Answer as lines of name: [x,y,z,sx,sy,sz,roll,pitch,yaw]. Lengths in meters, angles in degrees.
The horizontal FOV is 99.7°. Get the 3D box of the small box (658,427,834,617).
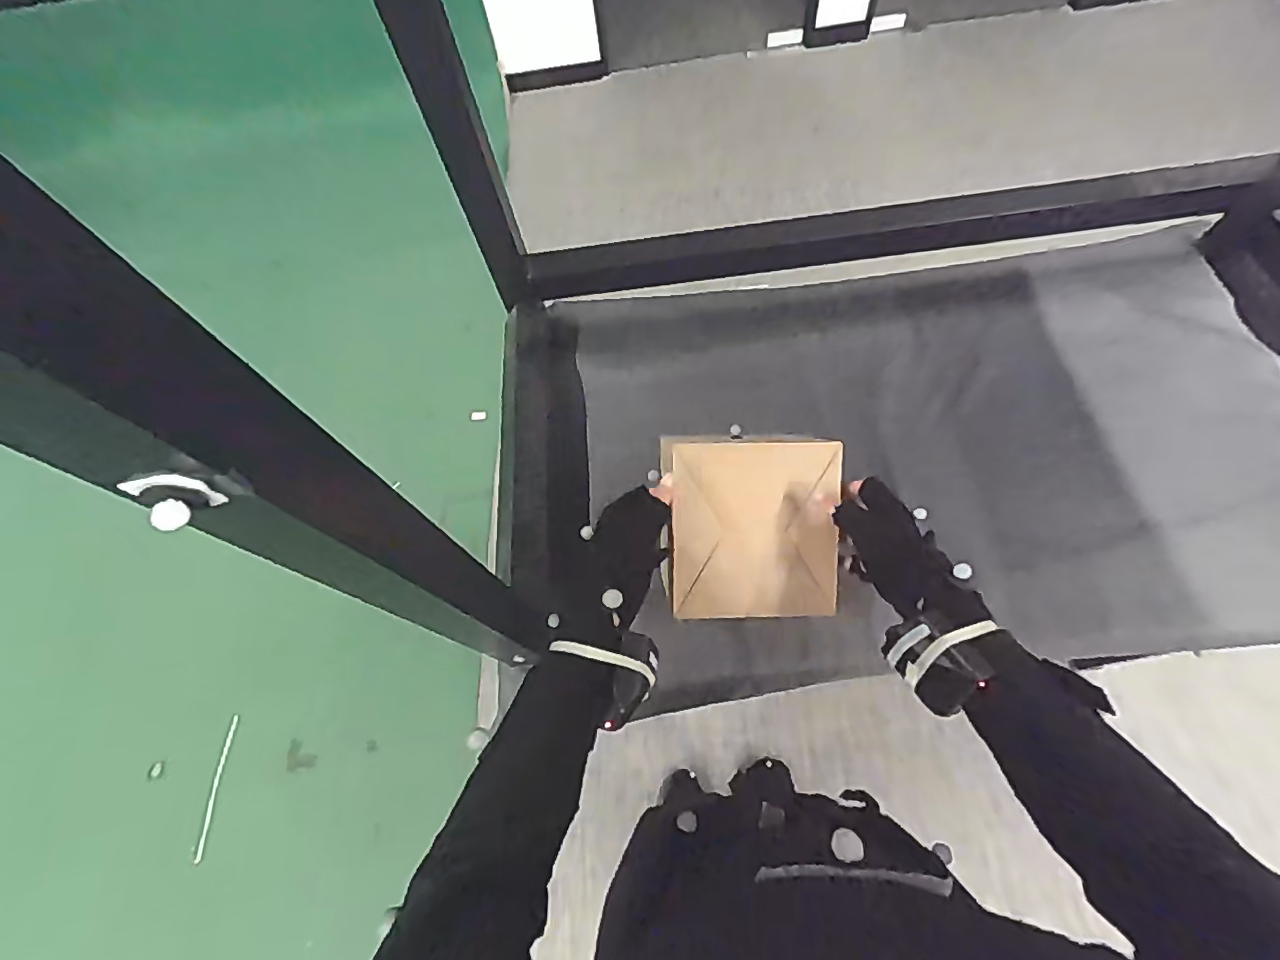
small box: [0.108,0.036,0.609,0.168,0.176,0.179,-1,99,-1]
